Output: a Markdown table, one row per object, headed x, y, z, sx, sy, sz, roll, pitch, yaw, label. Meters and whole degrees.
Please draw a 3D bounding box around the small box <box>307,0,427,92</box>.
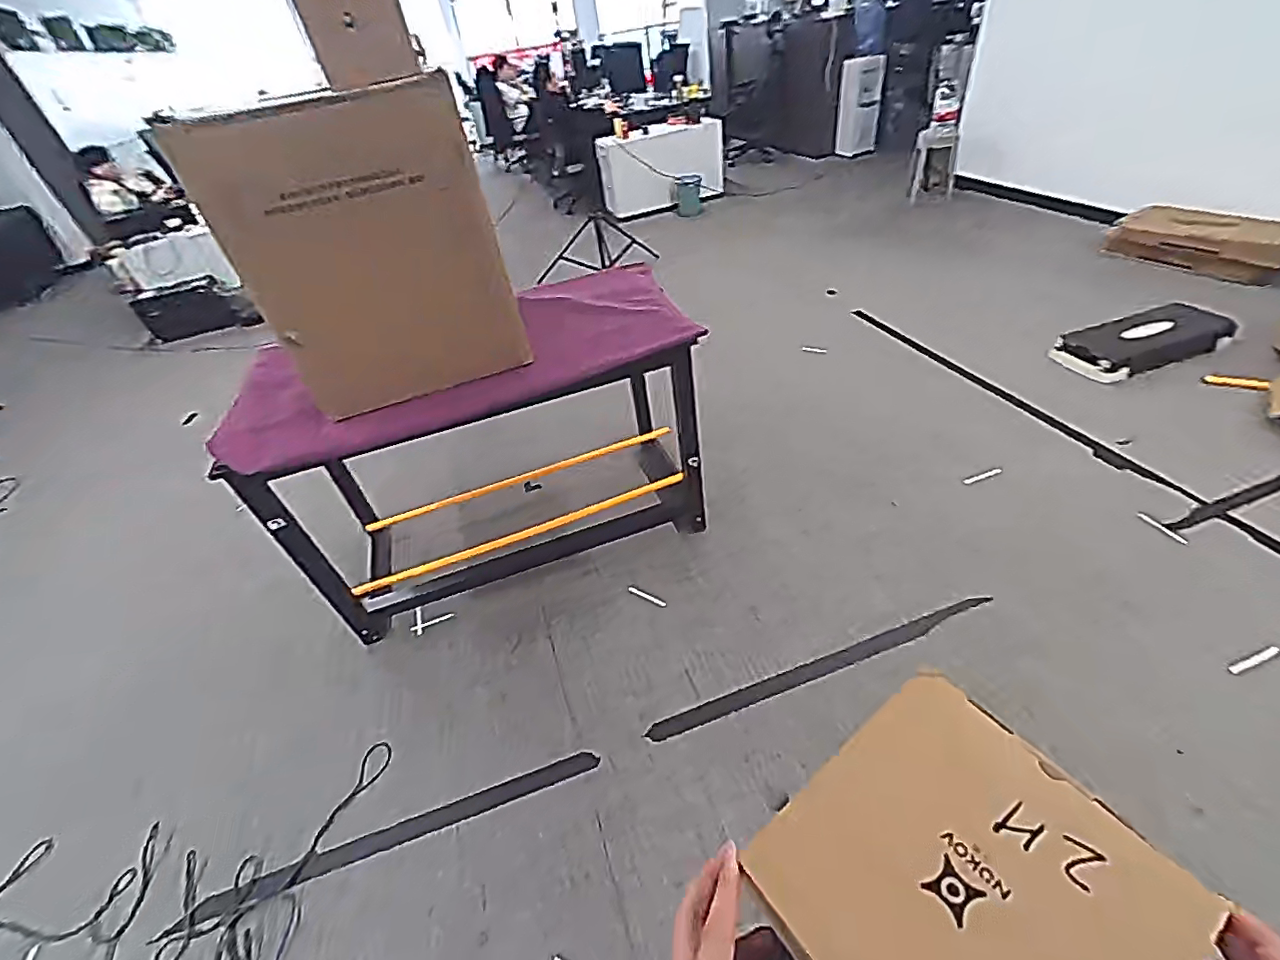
| x | y | z | sx | sy | sz | roll | pitch | yaw | label |
| --- | --- | --- | --- | --- | --- | --- | --- | --- | --- |
| -0.576 | -0.945 | 1.155 | 0.179 | 0.176 | 0.168 | -19 | 41 | -10 | small box |
